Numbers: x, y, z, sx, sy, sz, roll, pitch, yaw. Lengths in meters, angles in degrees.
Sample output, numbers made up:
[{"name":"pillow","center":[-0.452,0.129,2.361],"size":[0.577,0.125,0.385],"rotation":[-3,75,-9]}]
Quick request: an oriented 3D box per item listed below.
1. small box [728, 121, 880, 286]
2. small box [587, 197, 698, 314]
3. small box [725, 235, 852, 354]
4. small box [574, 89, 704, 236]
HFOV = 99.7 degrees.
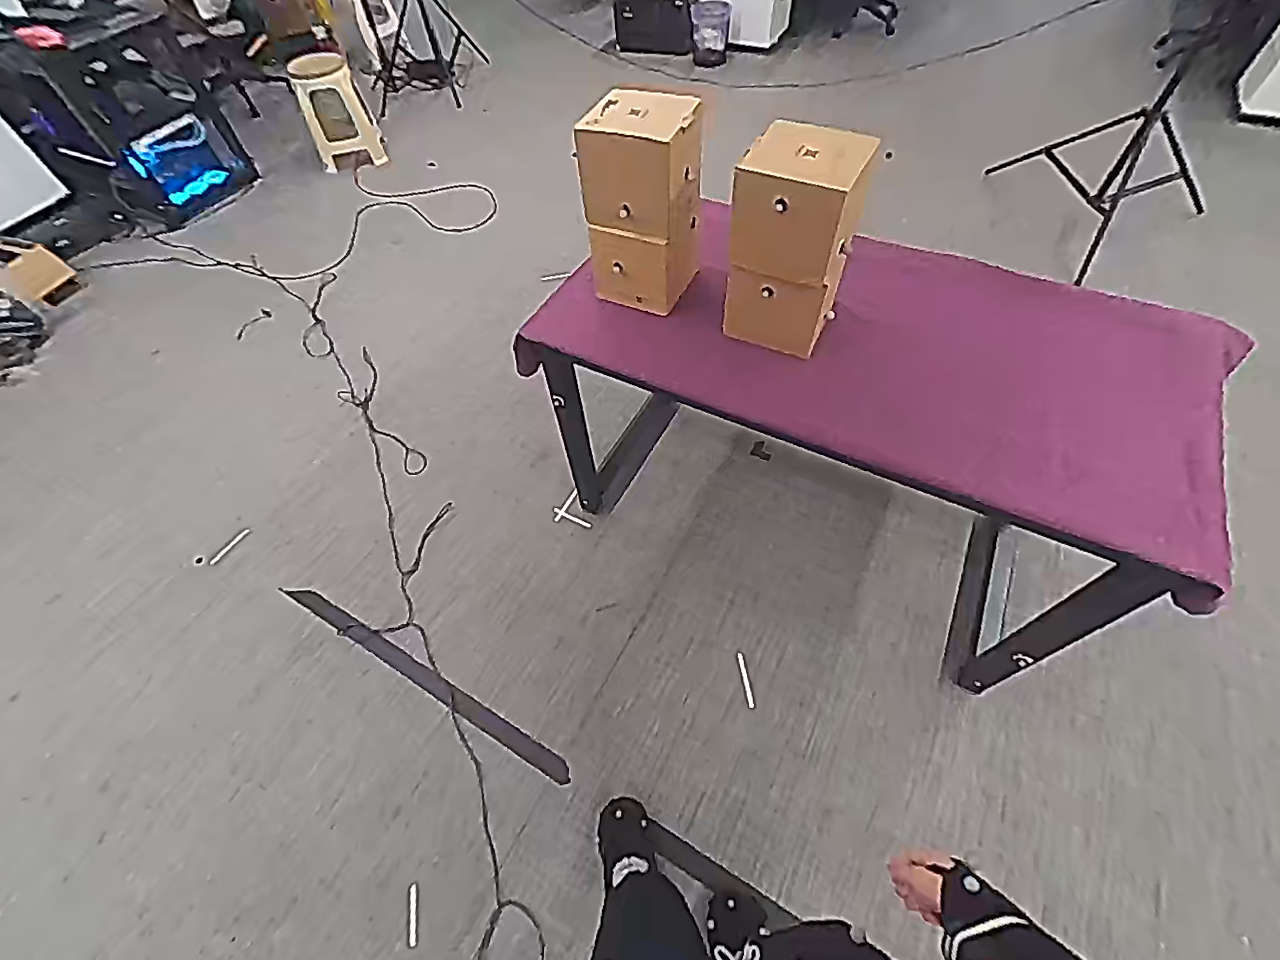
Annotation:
[{"name":"small box","center":[0.257,-0.447,0.884],"size":[0.179,0.176,0.168],"rotation":[24,62,17]},{"name":"small box","center":[0.012,-0.472,1.113],"size":[0.168,0.176,0.179],"rotation":[20,59,16]},{"name":"small box","center":[0.272,-0.366,1.024],"size":[0.179,0.176,0.168],"rotation":[22,60,16]},{"name":"small box","center":[0.003,-0.572,0.983],"size":[0.179,0.176,0.168],"rotation":[19,58,15]}]
